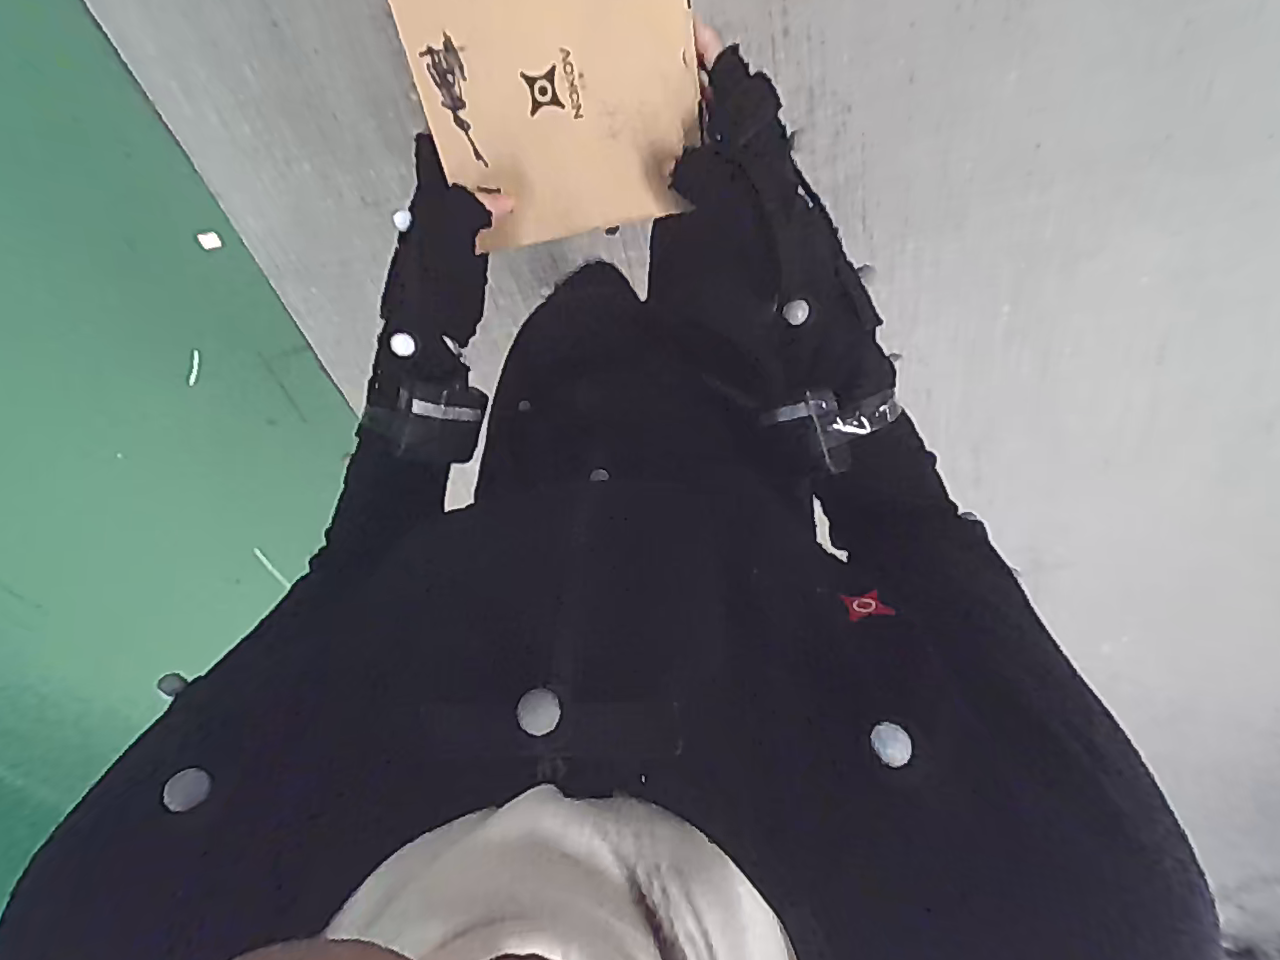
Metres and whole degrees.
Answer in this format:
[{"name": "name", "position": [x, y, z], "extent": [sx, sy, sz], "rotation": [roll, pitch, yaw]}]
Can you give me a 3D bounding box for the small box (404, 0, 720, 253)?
[{"name": "small box", "position": [-0.042, -0.285, 0.409], "extent": [0.179, 0.176, 0.168], "rotation": [-8, 120, 7]}]
